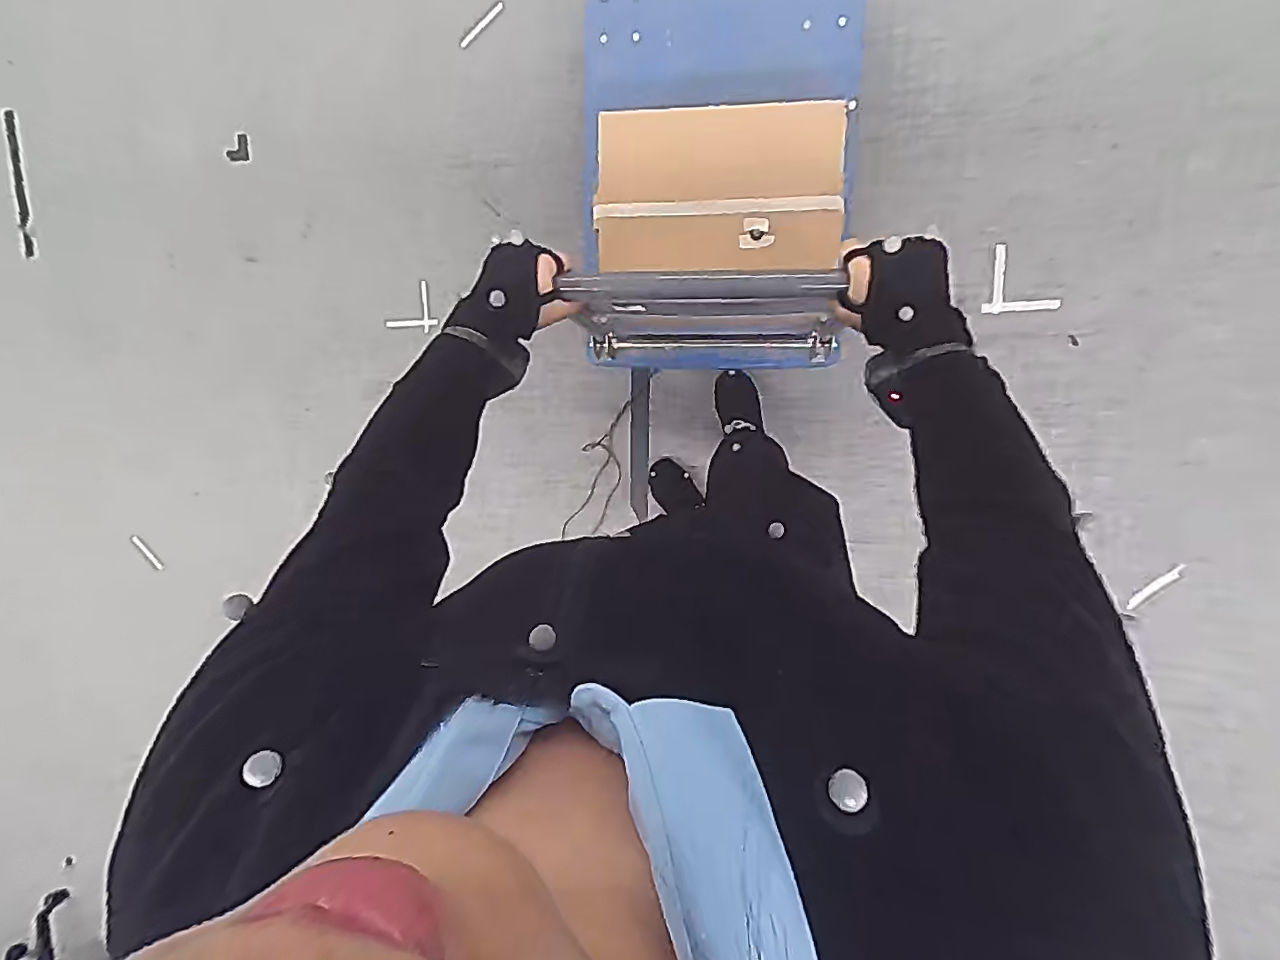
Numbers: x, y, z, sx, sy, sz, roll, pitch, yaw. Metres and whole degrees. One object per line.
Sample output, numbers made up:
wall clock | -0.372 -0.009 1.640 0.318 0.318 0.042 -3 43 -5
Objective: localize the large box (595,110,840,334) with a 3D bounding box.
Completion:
large box | 0.136 -0.462 1.049 0.408 0.320 0.320 2 100 6
